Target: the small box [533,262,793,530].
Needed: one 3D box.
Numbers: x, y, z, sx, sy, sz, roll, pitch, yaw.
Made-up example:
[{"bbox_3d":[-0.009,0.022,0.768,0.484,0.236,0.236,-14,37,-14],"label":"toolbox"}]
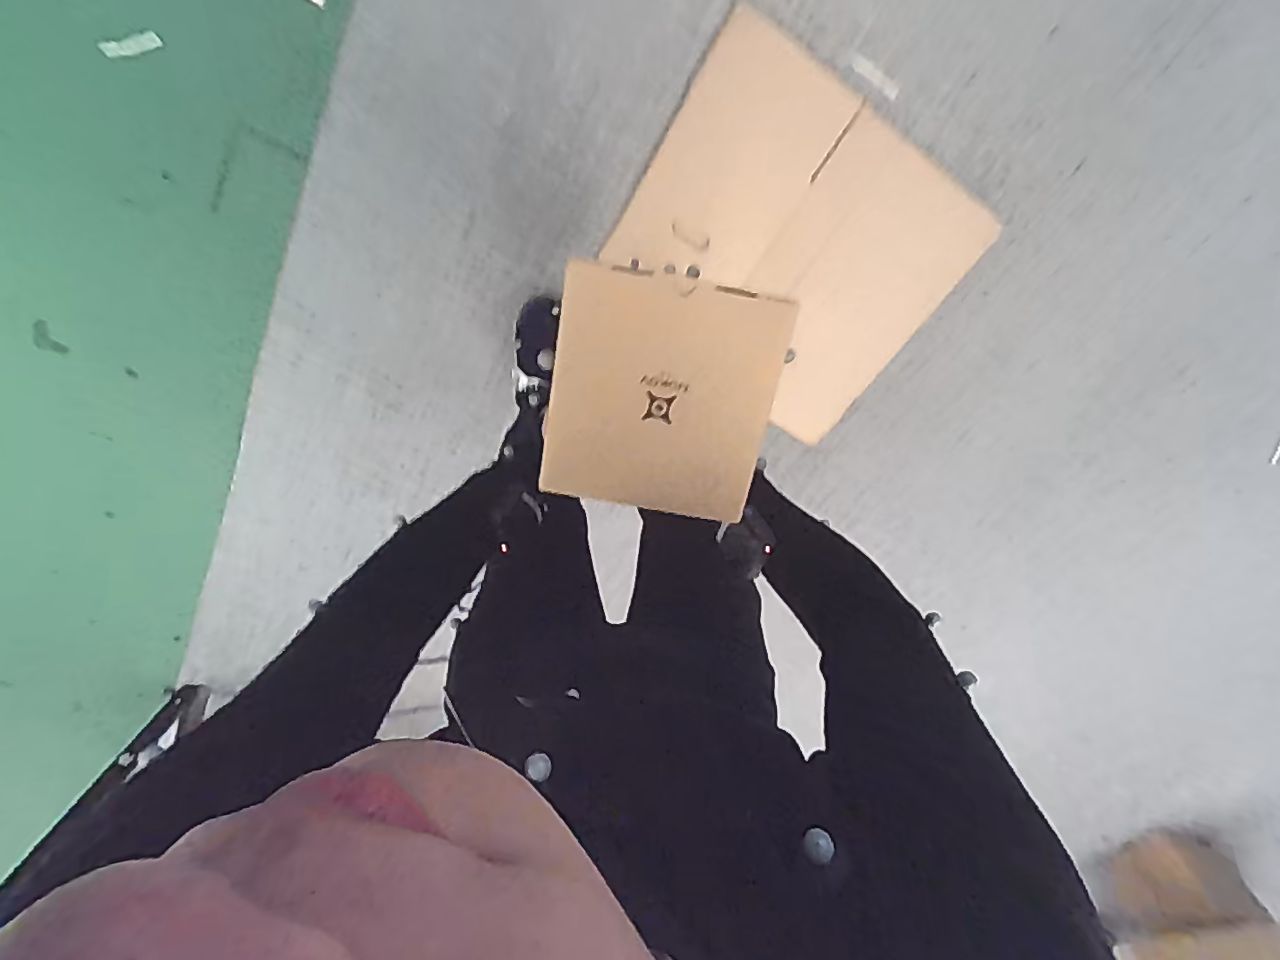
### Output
[{"bbox_3d":[0.013,-0.081,0.468,0.168,0.176,0.179,9,110,-2],"label":"small box"}]
